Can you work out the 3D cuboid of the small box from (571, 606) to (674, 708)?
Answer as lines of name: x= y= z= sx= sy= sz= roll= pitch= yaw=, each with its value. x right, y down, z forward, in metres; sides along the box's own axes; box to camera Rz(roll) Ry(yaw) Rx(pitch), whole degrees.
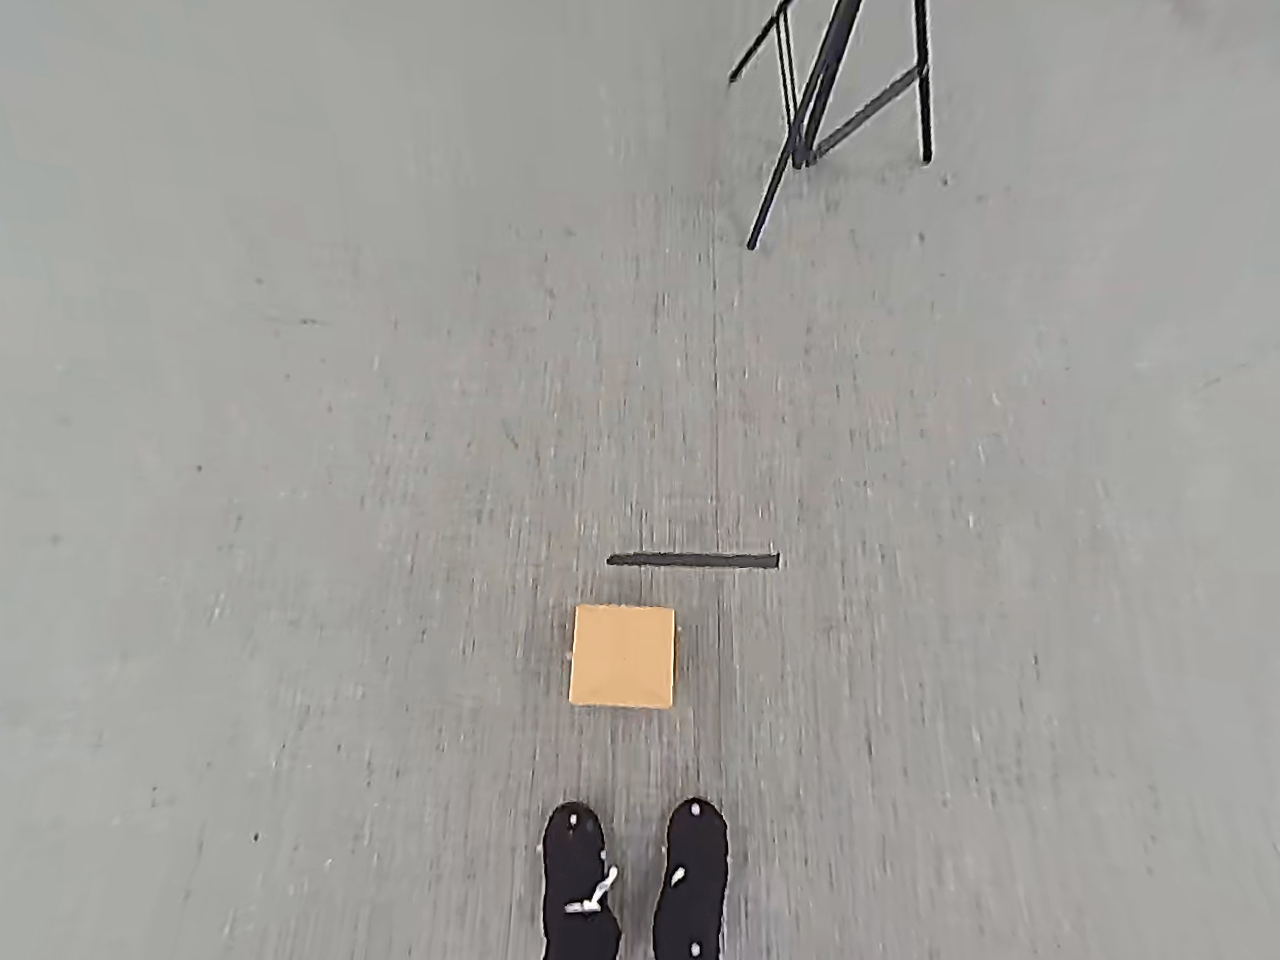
small box: x=-0.027 y=0.327 z=1.006 sx=0.179 sy=0.176 sz=0.168 roll=2 pitch=72 yaw=0
